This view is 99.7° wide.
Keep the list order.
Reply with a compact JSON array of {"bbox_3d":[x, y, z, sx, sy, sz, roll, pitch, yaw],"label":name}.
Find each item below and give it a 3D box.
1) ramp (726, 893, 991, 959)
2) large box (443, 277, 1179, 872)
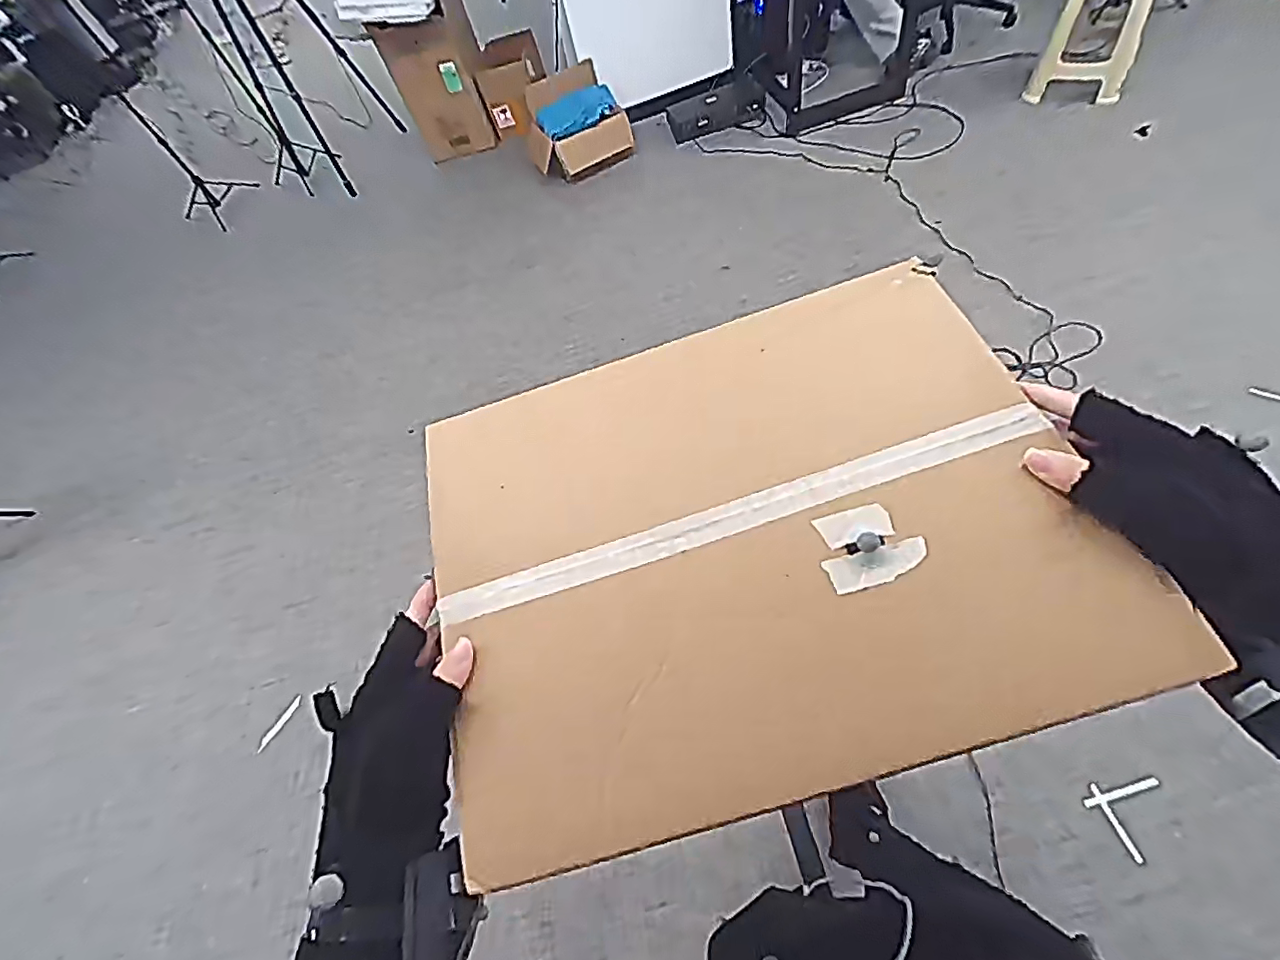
[{"bbox_3d":[0.474,1.226,0.735,0.509,0.206,0.991,-18,55,4],"label":"ramp"},{"bbox_3d":[0.090,0.095,0.495,0.408,0.320,0.320,-19,62,2],"label":"large box"}]
